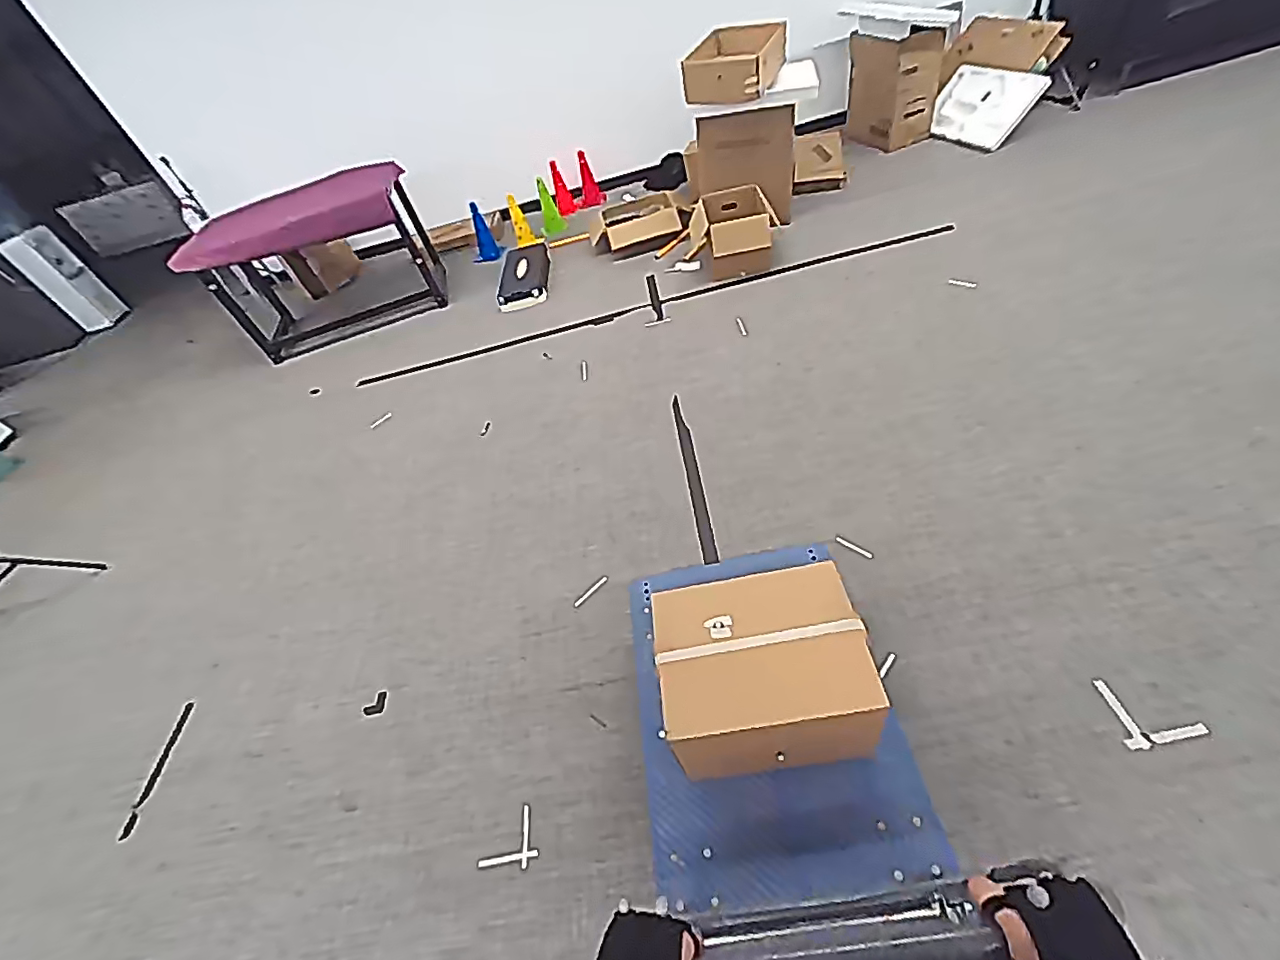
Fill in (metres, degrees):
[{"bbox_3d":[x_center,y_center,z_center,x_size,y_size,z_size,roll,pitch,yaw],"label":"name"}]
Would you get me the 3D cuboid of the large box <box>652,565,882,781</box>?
[{"bbox_3d":[0.267,0.436,1.199,0.408,0.320,0.320,-13,45,6],"label":"large box"}]
